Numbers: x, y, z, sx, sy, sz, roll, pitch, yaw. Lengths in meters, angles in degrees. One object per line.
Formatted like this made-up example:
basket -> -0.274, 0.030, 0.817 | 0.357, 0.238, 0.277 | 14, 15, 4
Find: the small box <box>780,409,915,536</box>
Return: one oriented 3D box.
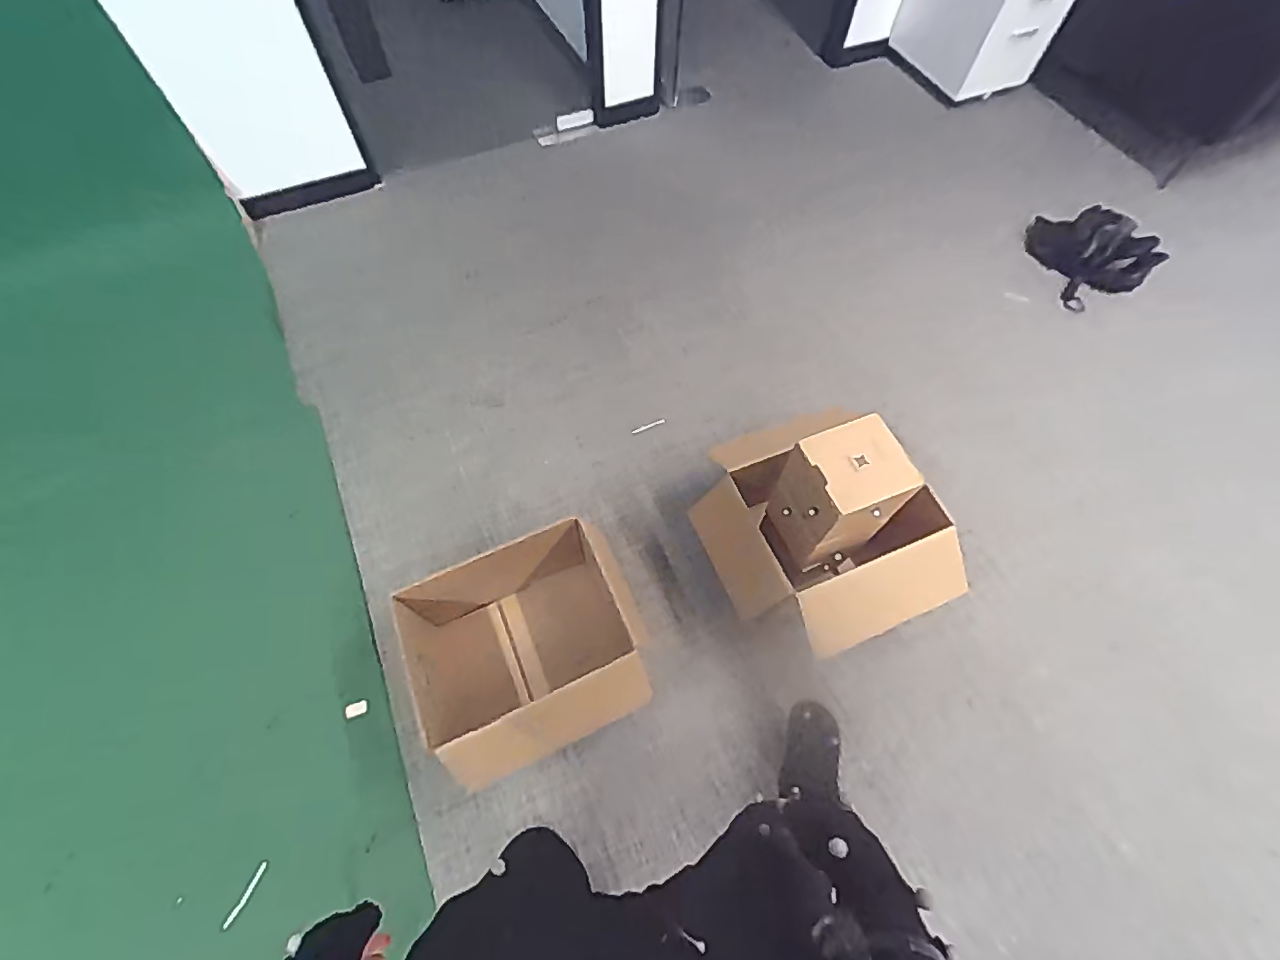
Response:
small box -> 0.397, -0.008, 1.077 | 0.179, 0.176, 0.168 | -21, 67, -10
